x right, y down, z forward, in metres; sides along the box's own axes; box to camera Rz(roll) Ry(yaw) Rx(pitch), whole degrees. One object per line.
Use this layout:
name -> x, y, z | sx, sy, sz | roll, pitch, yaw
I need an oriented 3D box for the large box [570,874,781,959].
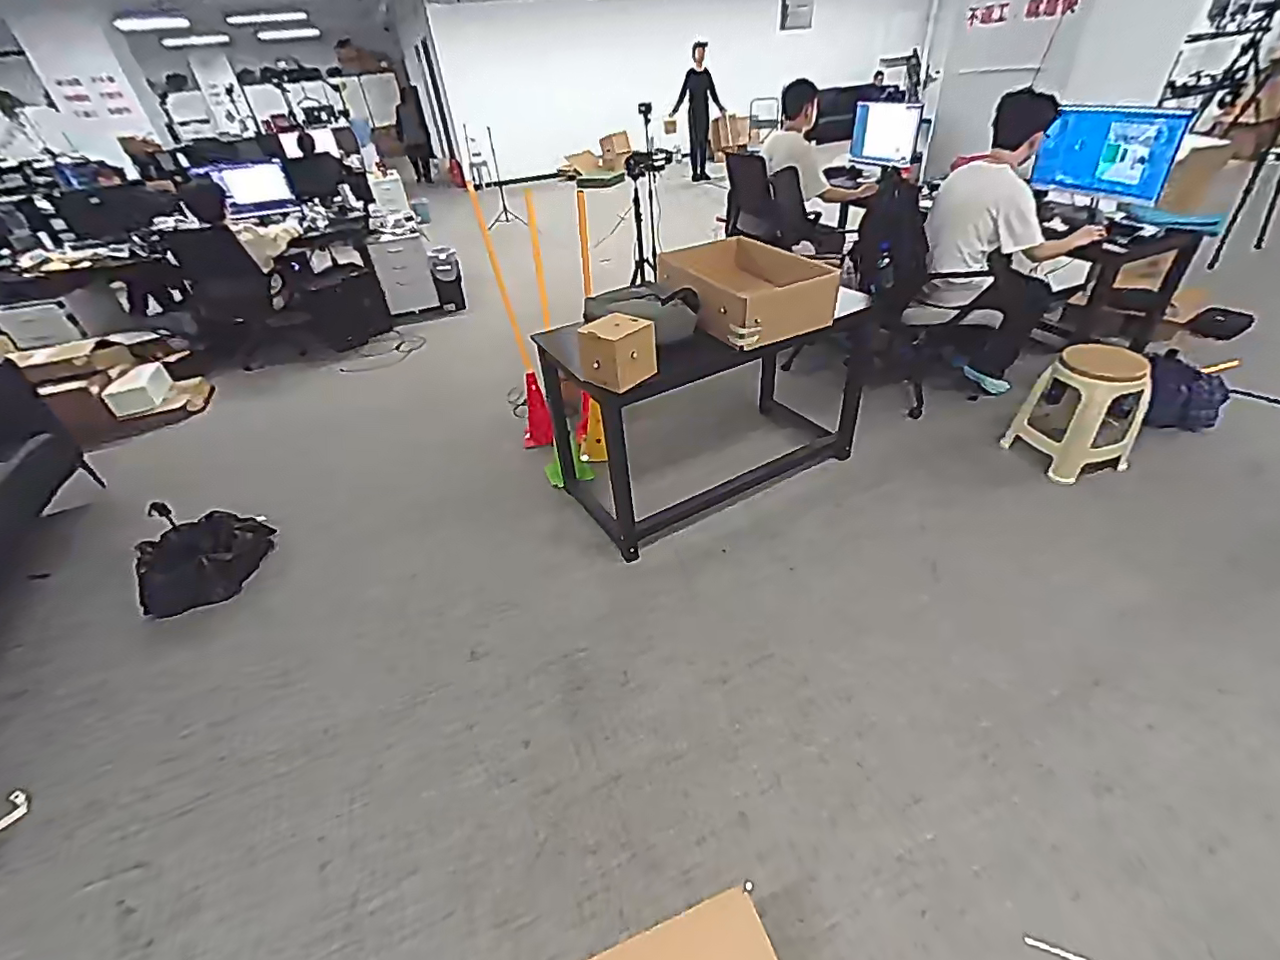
large box -> 0.073, 0.994, 0.941 | 0.408, 0.320, 0.320 | -16, 39, -13
